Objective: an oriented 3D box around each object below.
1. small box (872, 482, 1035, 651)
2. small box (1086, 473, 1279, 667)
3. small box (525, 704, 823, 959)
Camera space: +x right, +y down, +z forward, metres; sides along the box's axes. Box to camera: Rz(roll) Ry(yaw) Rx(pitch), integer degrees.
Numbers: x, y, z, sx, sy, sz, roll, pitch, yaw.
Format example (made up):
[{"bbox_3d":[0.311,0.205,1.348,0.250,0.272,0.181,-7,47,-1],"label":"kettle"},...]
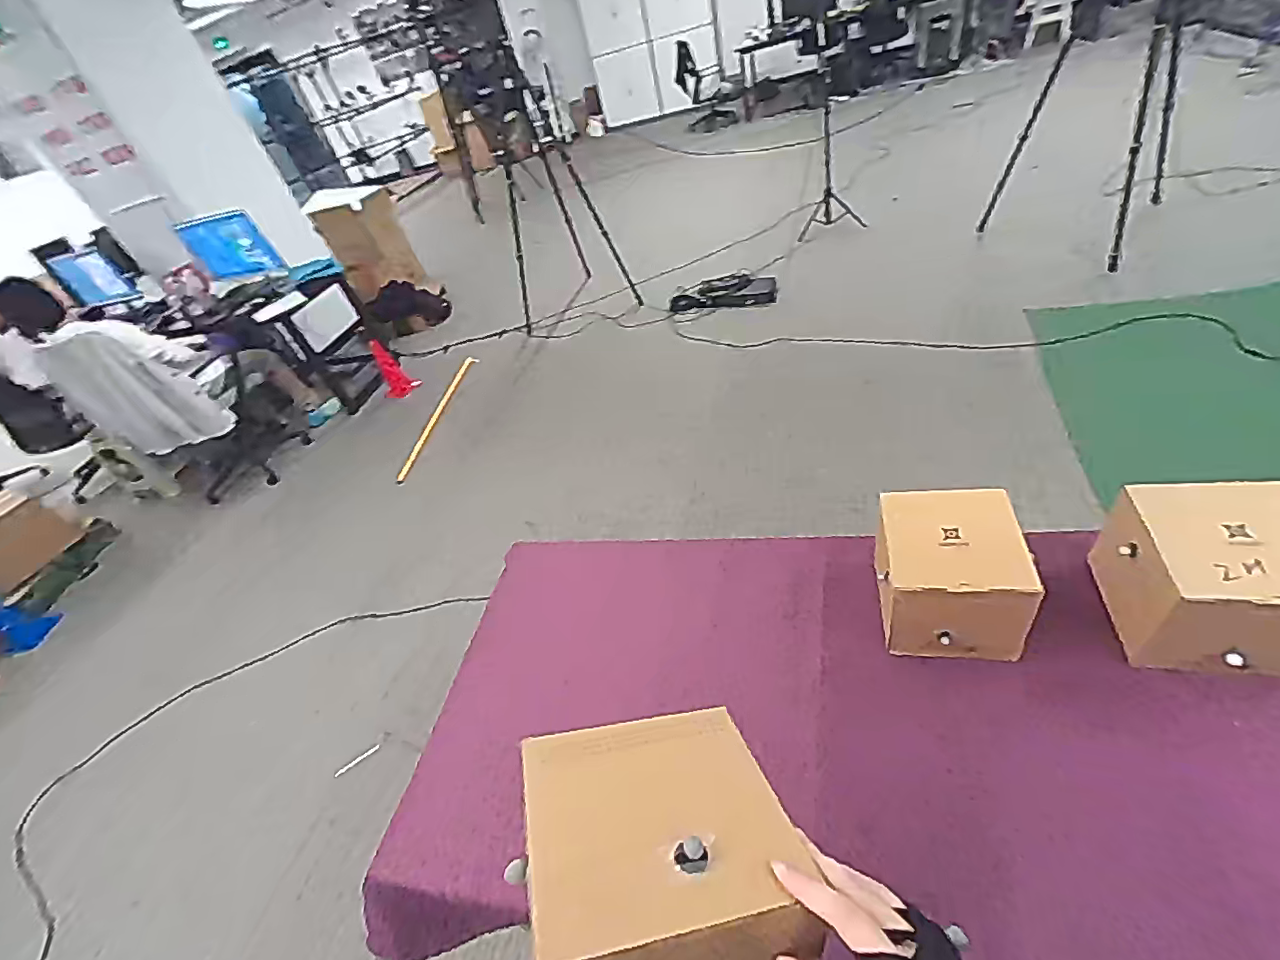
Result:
[{"bbox_3d":[0.435,0.124,0.785,0.168,0.176,0.179,-3,45,18],"label":"small box"},{"bbox_3d":[0.706,0.111,0.684,0.168,0.176,0.179,-2,47,21],"label":"small box"},{"bbox_3d":[0.007,0.294,0.408,0.179,0.168,0.176,-3,18,-13],"label":"small box"}]
